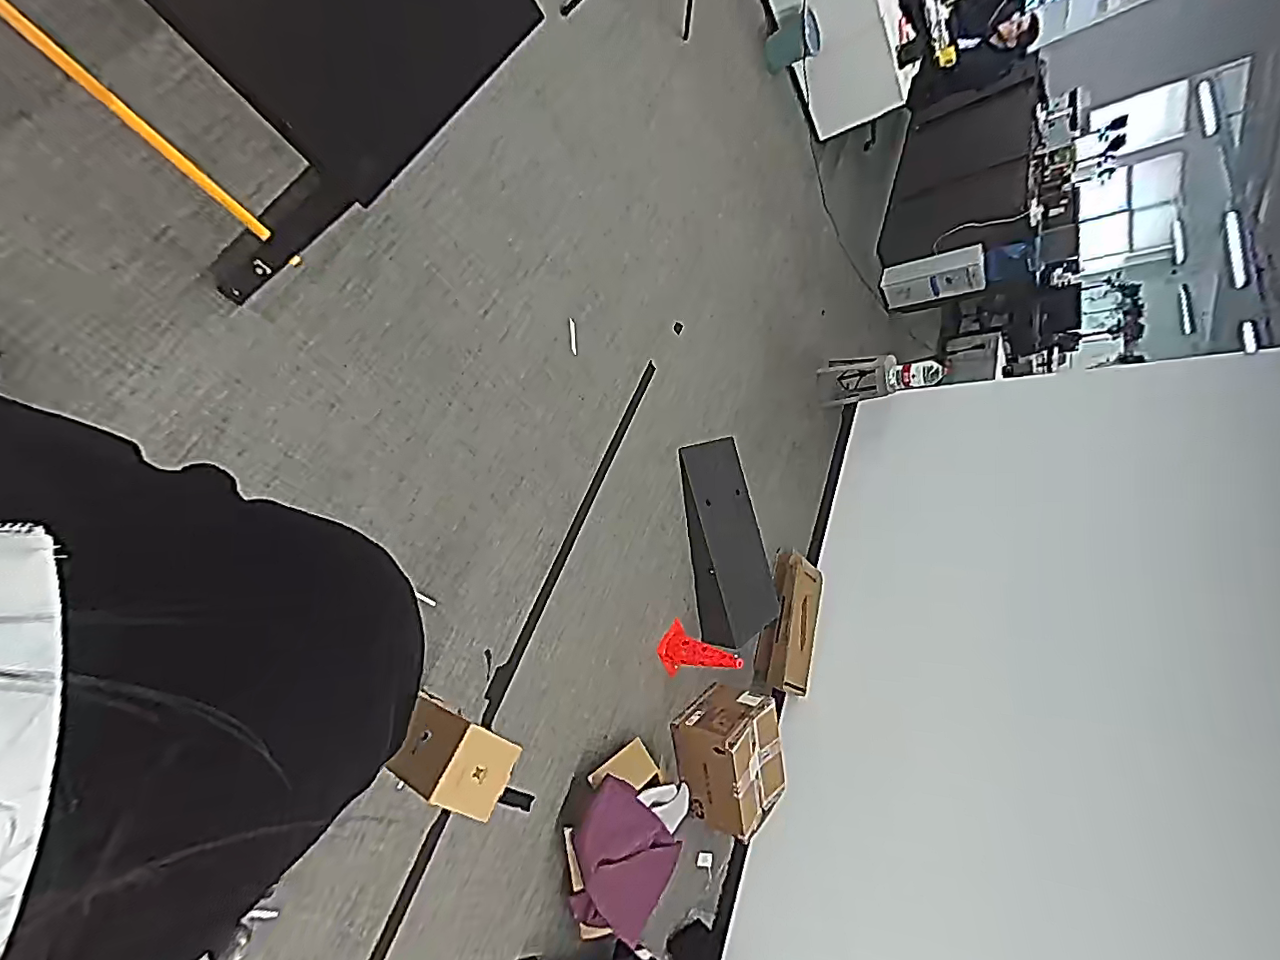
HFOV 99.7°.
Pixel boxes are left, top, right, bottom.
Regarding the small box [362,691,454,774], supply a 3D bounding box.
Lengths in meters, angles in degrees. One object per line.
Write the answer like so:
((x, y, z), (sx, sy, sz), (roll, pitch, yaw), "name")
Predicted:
((-0.548, 0.651, 1.354), (0.179, 0.176, 0.168), (50, 54, -36), "small box")

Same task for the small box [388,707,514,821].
((-0.432, 0.643, 1.239), (0.179, 0.176, 0.168), (49, 54, -36), "small box")
